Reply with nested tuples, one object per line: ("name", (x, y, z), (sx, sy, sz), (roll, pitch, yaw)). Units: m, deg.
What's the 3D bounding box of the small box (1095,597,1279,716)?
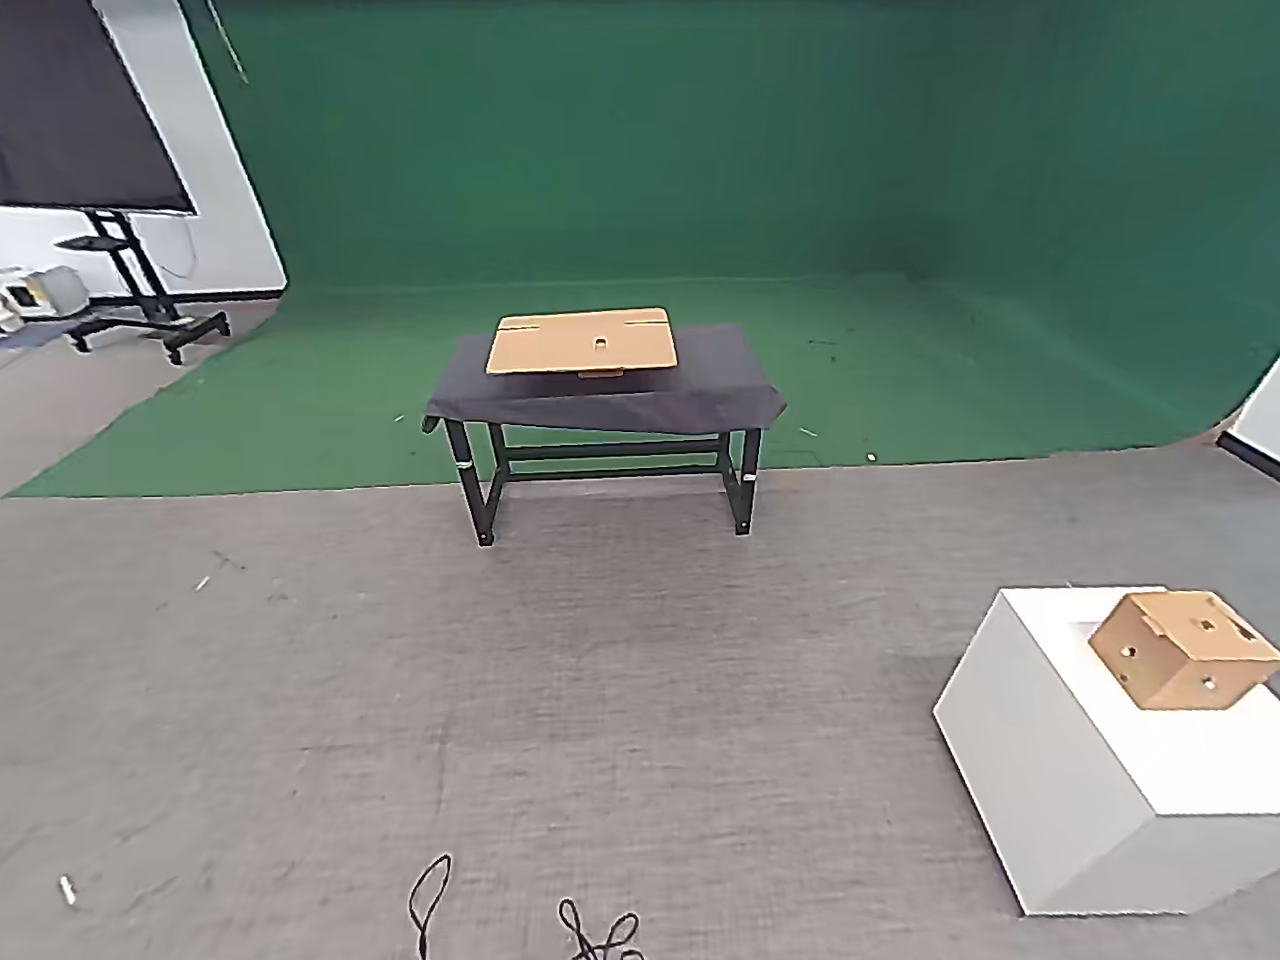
("small box", (1.071, 0.355, 1.085), (0.179, 0.176, 0.168), (-2, 36, -2))
